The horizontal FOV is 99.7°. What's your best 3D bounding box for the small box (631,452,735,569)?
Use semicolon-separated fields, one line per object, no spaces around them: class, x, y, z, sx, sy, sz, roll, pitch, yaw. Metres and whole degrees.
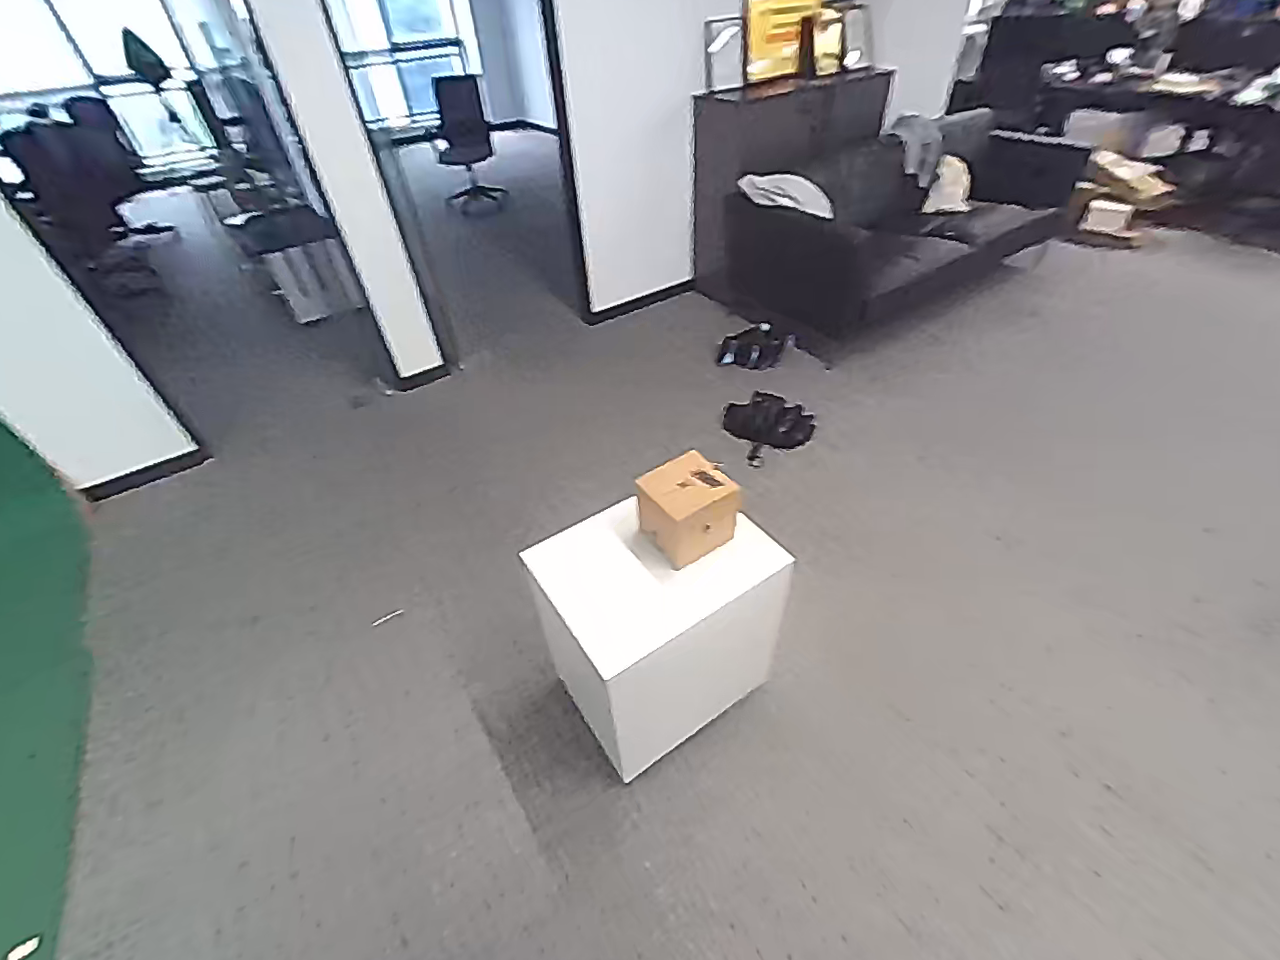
small box;0.092;0.071;1.244;0.179;0.176;0.168;-26;47;-24
